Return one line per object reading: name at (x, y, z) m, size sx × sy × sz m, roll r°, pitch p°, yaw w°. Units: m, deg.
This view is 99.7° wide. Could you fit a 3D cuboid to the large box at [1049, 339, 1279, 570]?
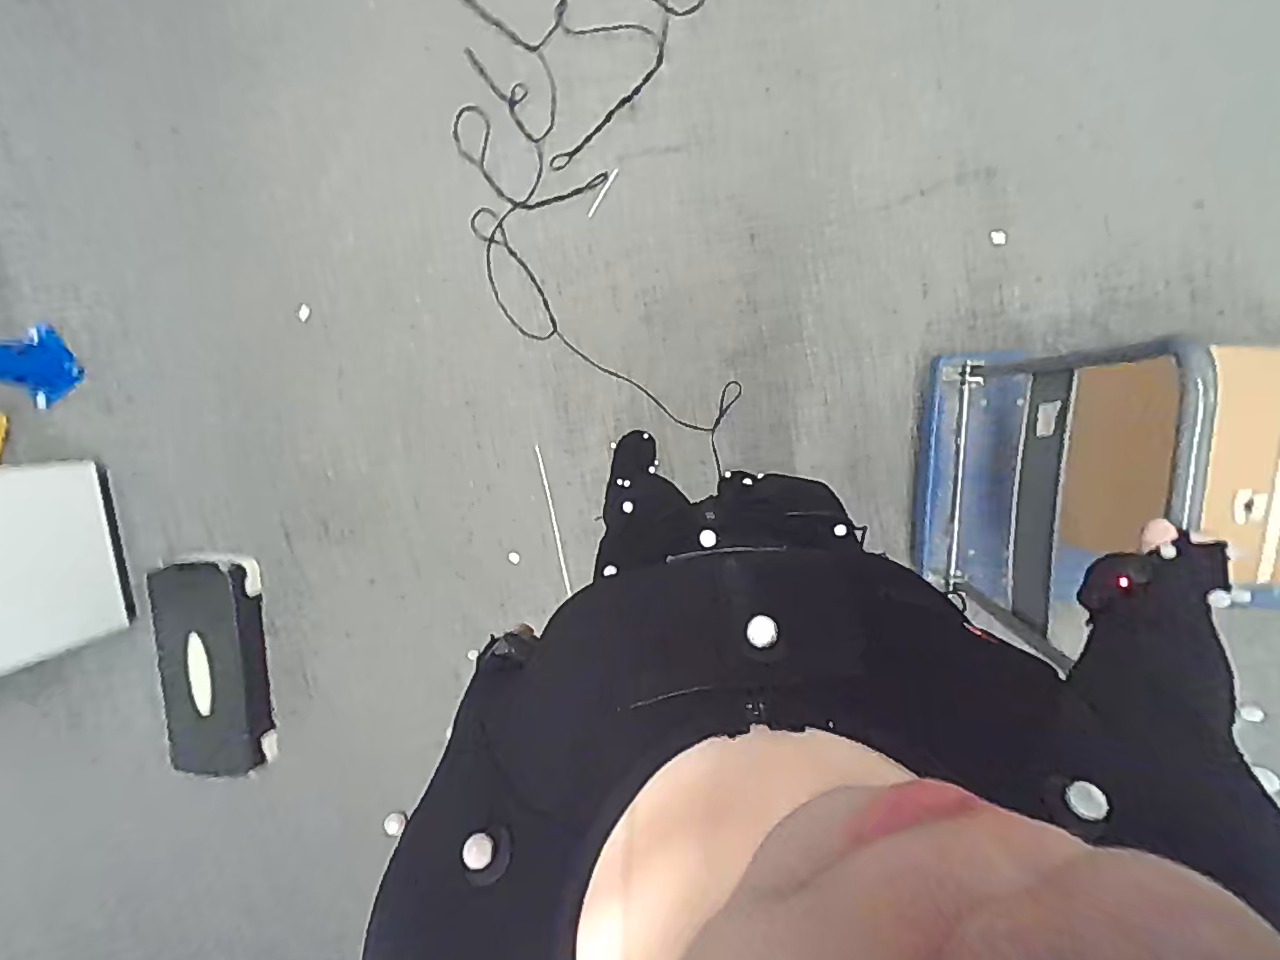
large box at (1.092, -0.060, 1.078) m, size 0.320 × 0.320 × 0.408 m, roll 3°, pitch 98°, yaw 6°
